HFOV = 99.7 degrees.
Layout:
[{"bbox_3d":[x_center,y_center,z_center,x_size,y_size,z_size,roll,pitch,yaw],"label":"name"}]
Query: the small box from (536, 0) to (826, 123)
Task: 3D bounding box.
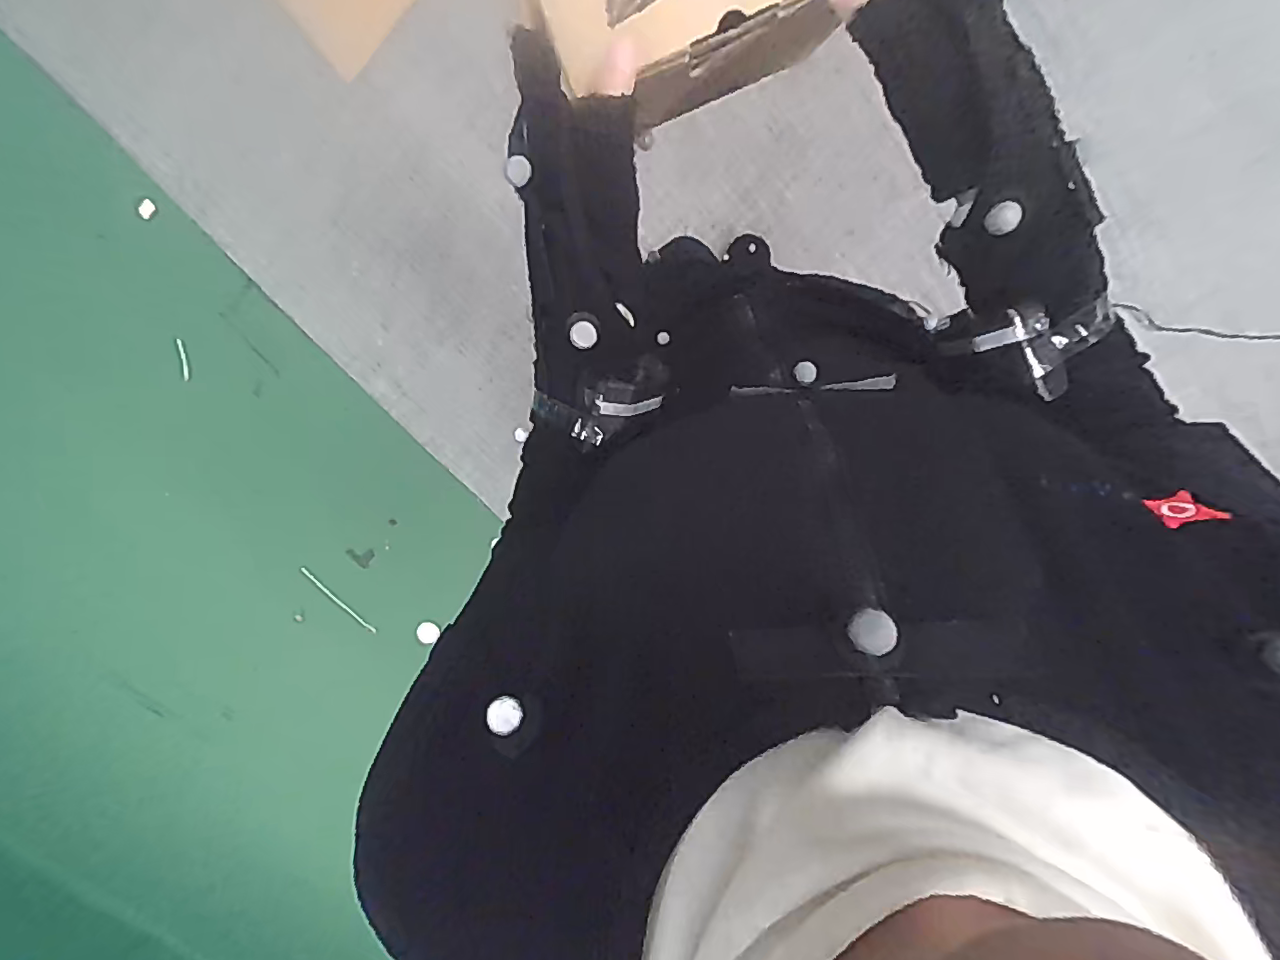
[{"bbox_3d":[0.012,-0.330,0.303,0.168,0.176,0.179,-21,114,12],"label":"small box"}]
